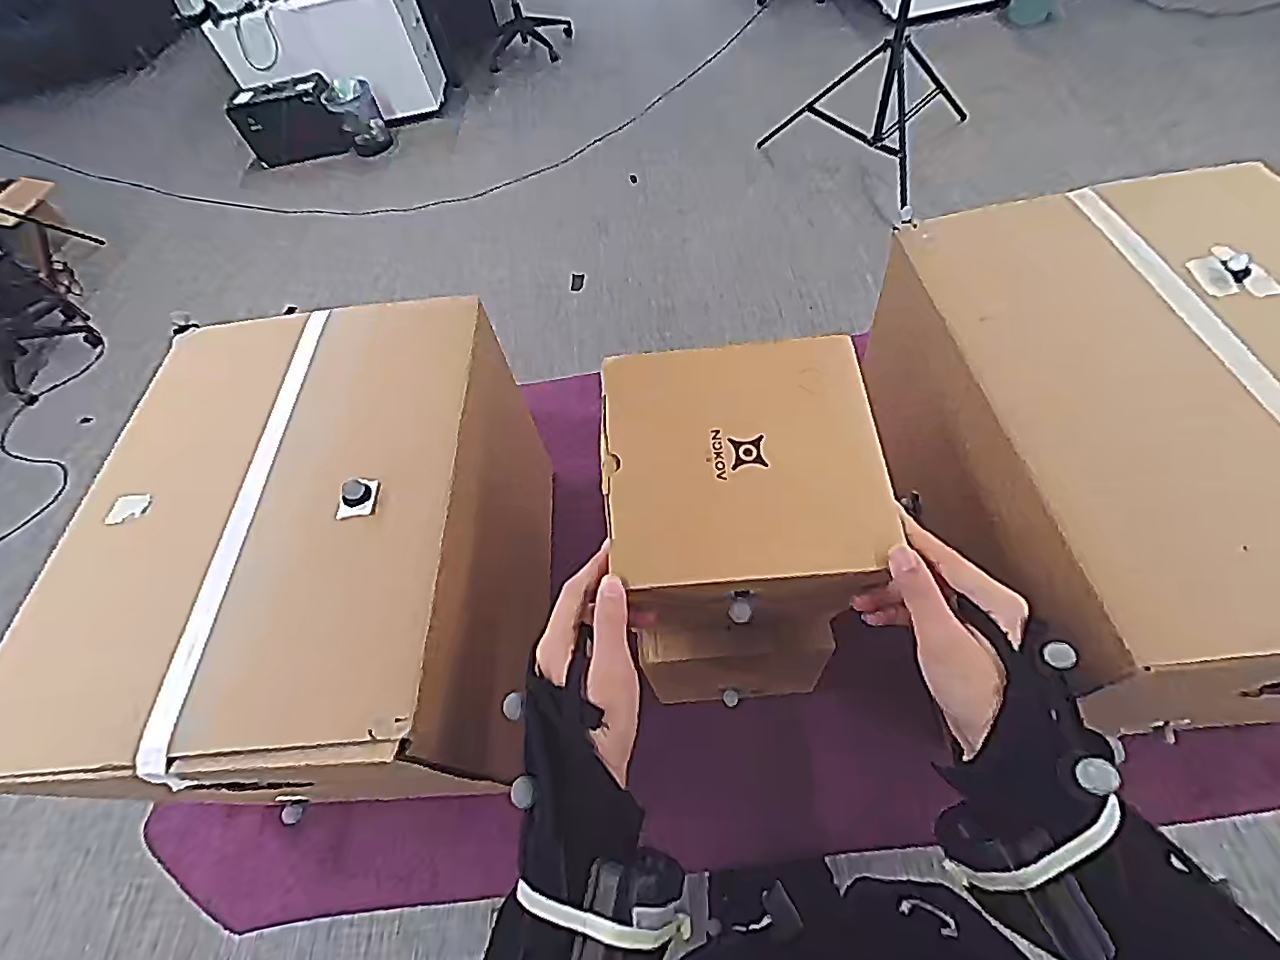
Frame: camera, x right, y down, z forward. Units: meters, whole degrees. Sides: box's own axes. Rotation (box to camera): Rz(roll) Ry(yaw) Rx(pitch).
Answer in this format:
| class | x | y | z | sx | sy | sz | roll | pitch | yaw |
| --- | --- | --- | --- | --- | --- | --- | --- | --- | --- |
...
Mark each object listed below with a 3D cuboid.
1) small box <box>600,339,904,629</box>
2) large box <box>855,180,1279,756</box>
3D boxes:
| class | x | y | z | sx | sy | sz | roll | pitch | yaw |
| --- | --- | --- | --- | --- | --- | --- | --- | --- | --- |
| small box | 0.068 | 0.016 | 0.417 | 0.179 | 0.176 | 0.168 | -6 | 66 | 4 |
| large box | 0.413 | 0.001 | 0.502 | 0.320 | 0.320 | 0.408 | -8 | 55 | 4 |
